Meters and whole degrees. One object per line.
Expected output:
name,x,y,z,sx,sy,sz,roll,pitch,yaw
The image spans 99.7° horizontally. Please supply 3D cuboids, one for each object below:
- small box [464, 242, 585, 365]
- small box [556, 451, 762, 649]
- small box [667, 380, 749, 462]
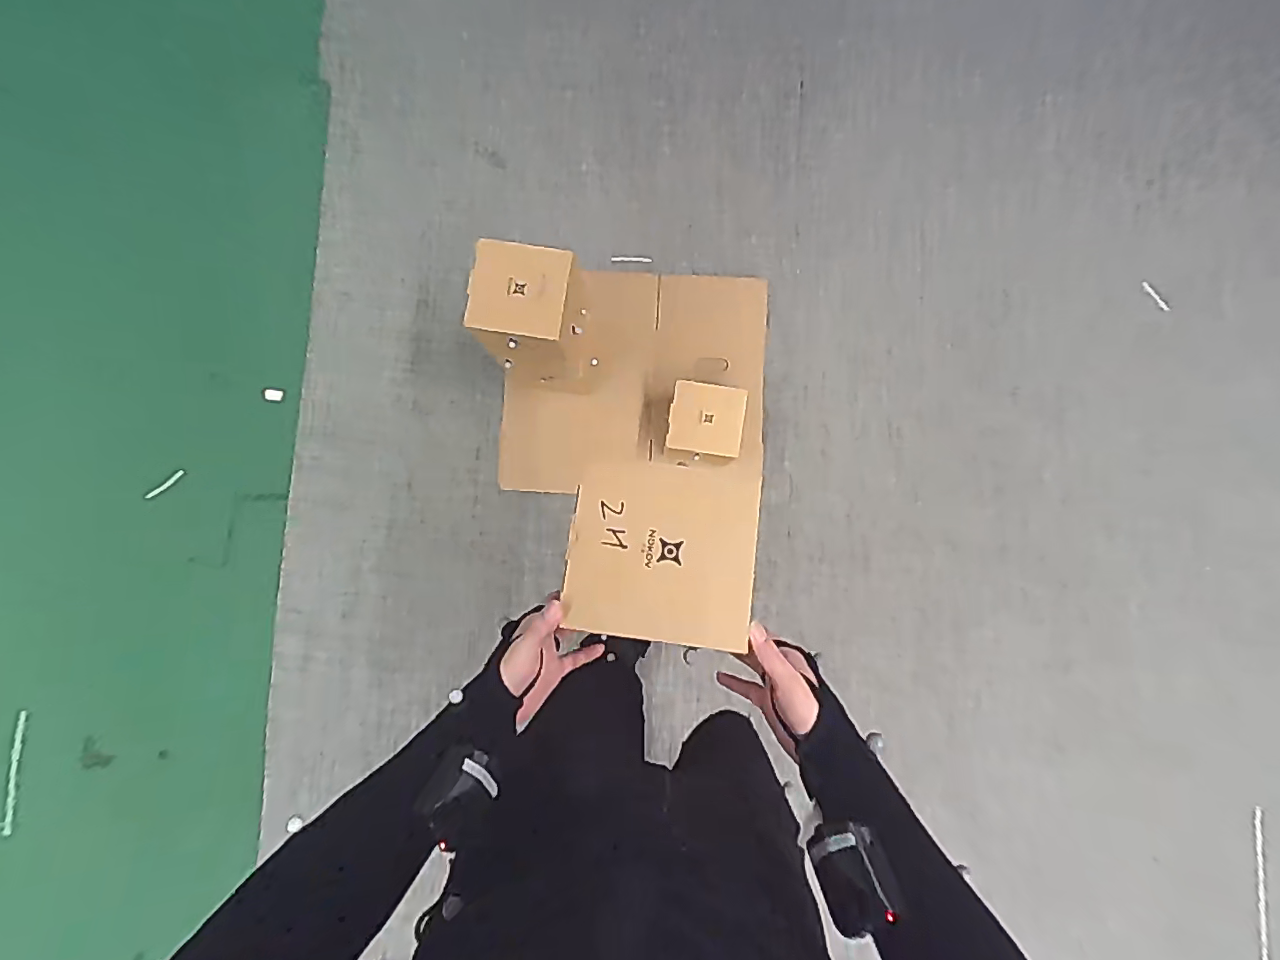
small box,-0.214,-0.331,1.045,0.179,0.176,0.168,9,87,2
small box,0.023,0.080,0.582,0.179,0.176,0.168,7,76,4
small box,0.164,-0.141,1.351,0.179,0.176,0.168,8,86,3
